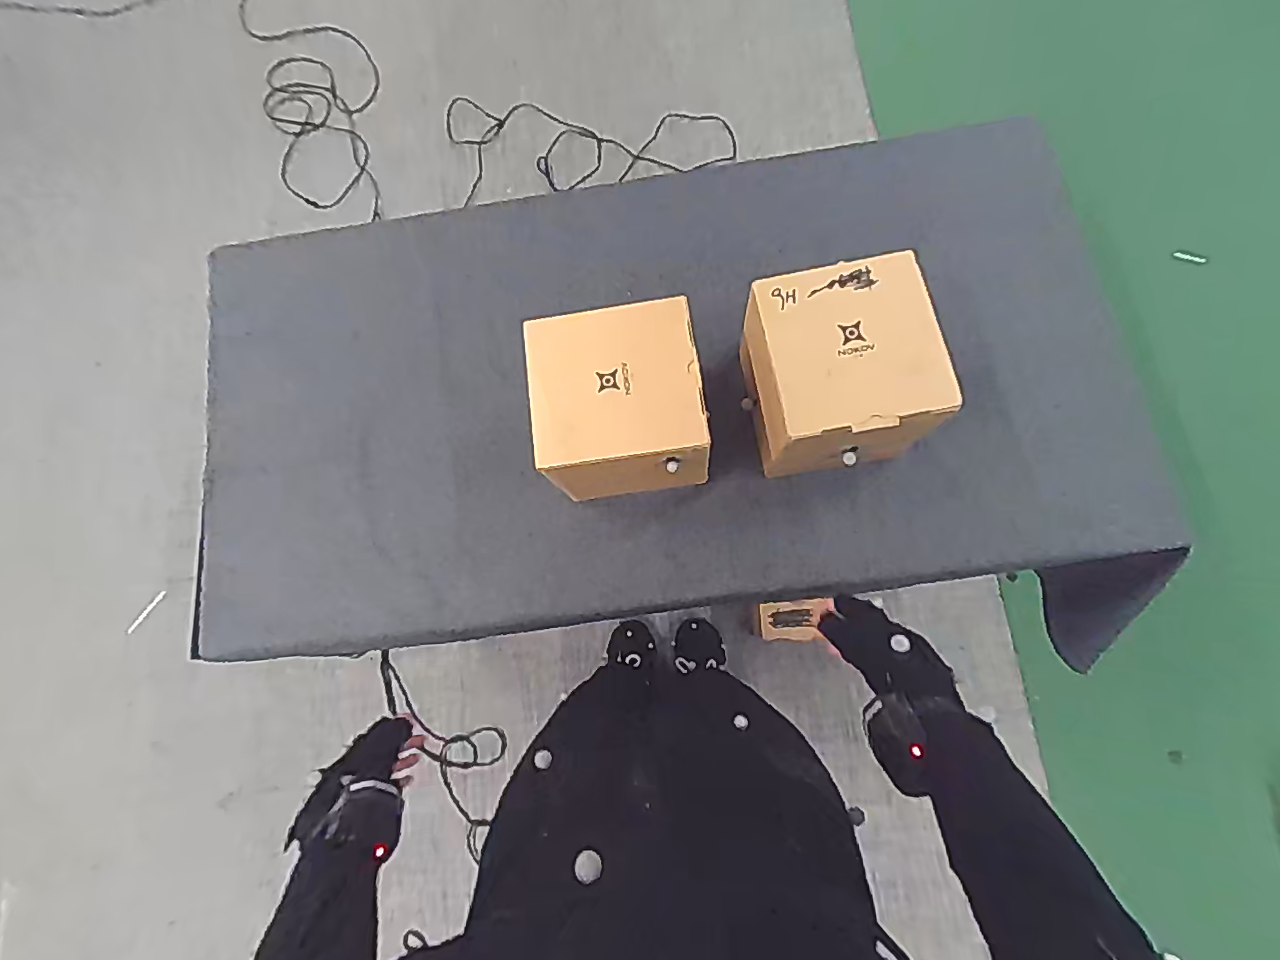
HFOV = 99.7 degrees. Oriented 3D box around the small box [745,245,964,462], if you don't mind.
[{"bbox_3d":[0.219,-0.125,0.605,0.168,0.176,0.179,-9,77,2],"label":"small box"}]
